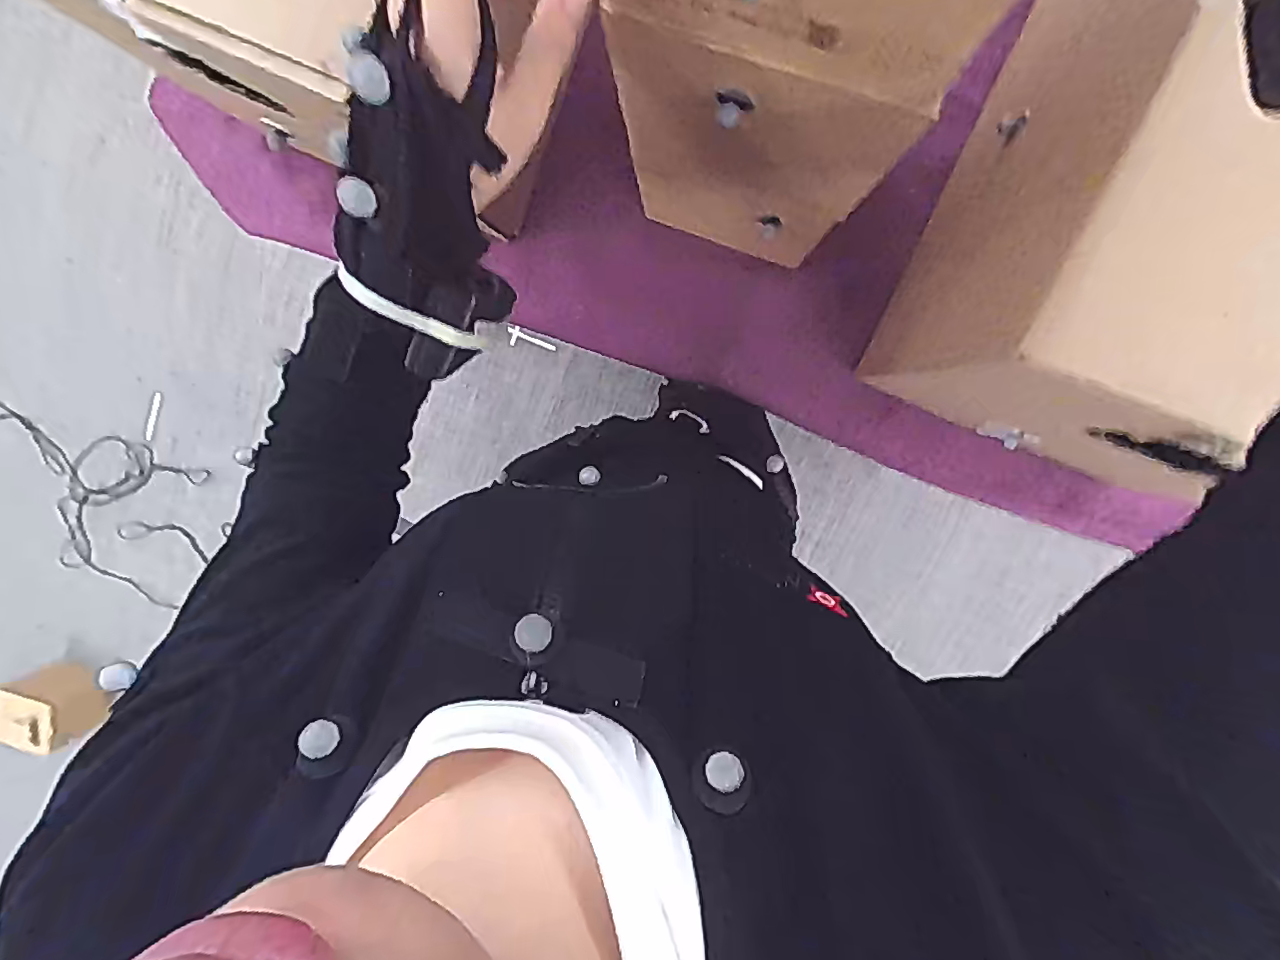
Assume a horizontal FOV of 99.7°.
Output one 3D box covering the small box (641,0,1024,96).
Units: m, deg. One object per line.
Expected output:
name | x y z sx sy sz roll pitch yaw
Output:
small box | 0.085 -0.271 0.164 0.168 0.176 0.179 18 101 2

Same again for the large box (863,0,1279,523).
large box | 0.433 -0.203 0.405 0.320 0.320 0.408 23 99 1
